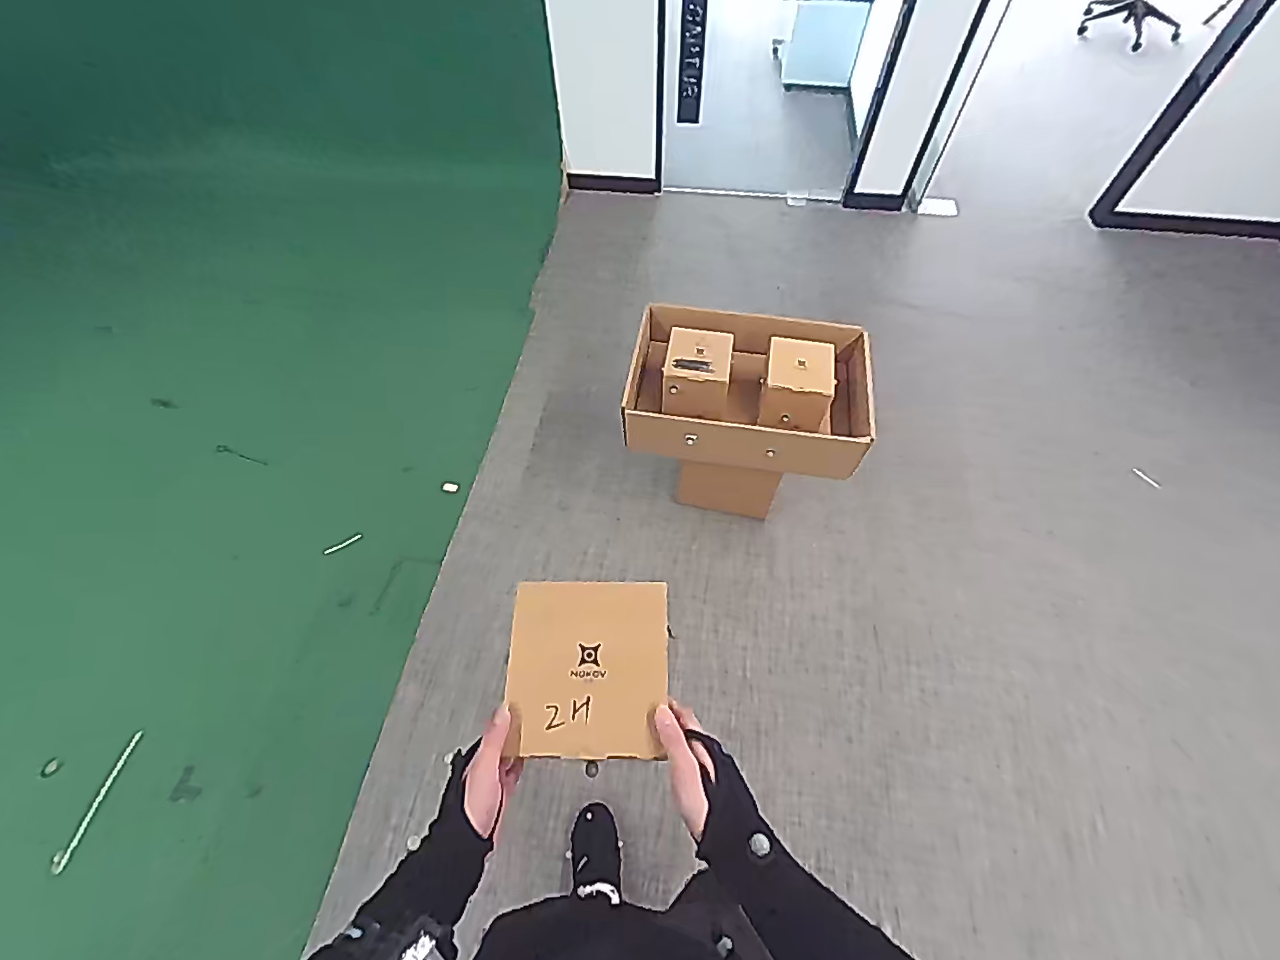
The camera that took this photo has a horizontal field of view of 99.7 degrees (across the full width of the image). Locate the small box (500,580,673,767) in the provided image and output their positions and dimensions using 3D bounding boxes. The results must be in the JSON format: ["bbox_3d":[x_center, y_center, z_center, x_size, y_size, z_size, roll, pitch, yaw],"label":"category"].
[{"bbox_3d":[-0.049,0.226,0.618,0.168,0.176,0.179,1,62,1],"label":"small box"}]

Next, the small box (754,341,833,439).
[{"bbox_3d":[0.404,-0.237,1.434,0.168,0.176,0.179,9,59,5],"label":"small box"}]
